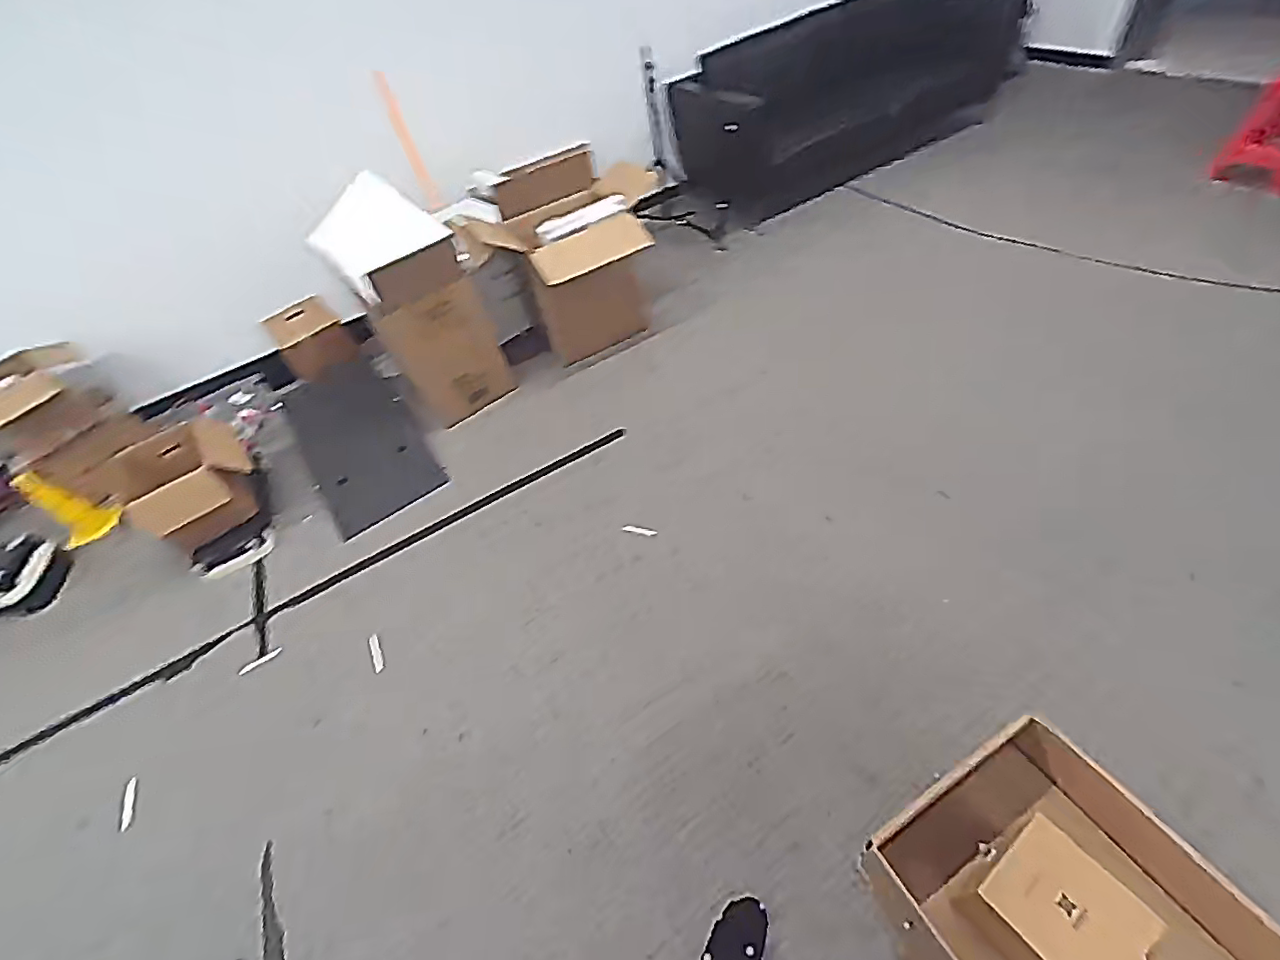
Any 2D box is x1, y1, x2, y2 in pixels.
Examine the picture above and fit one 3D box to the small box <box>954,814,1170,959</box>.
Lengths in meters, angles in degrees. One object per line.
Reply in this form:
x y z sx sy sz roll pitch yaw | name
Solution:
0.625 0.658 0.826 0.168 0.176 0.179 -33 50 -18 | small box
